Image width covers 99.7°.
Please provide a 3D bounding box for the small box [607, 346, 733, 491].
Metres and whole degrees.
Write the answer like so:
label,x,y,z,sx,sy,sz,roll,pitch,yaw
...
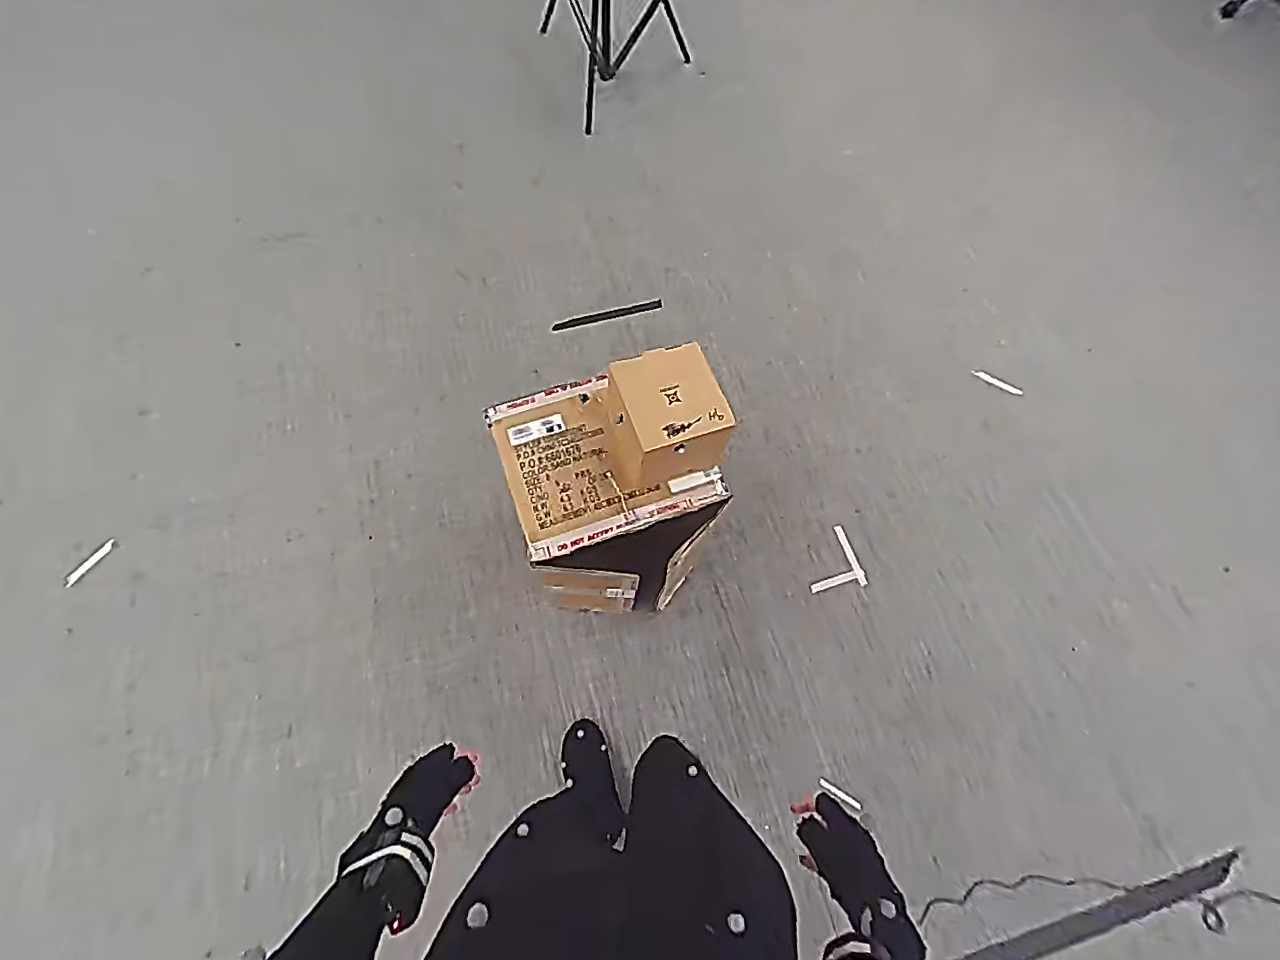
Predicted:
label,x,y,z,sx,sy,sz,roll,pitch,yaw
small box,0.042,-0.105,0.969,0.168,0.176,0.179,-17,69,-11
